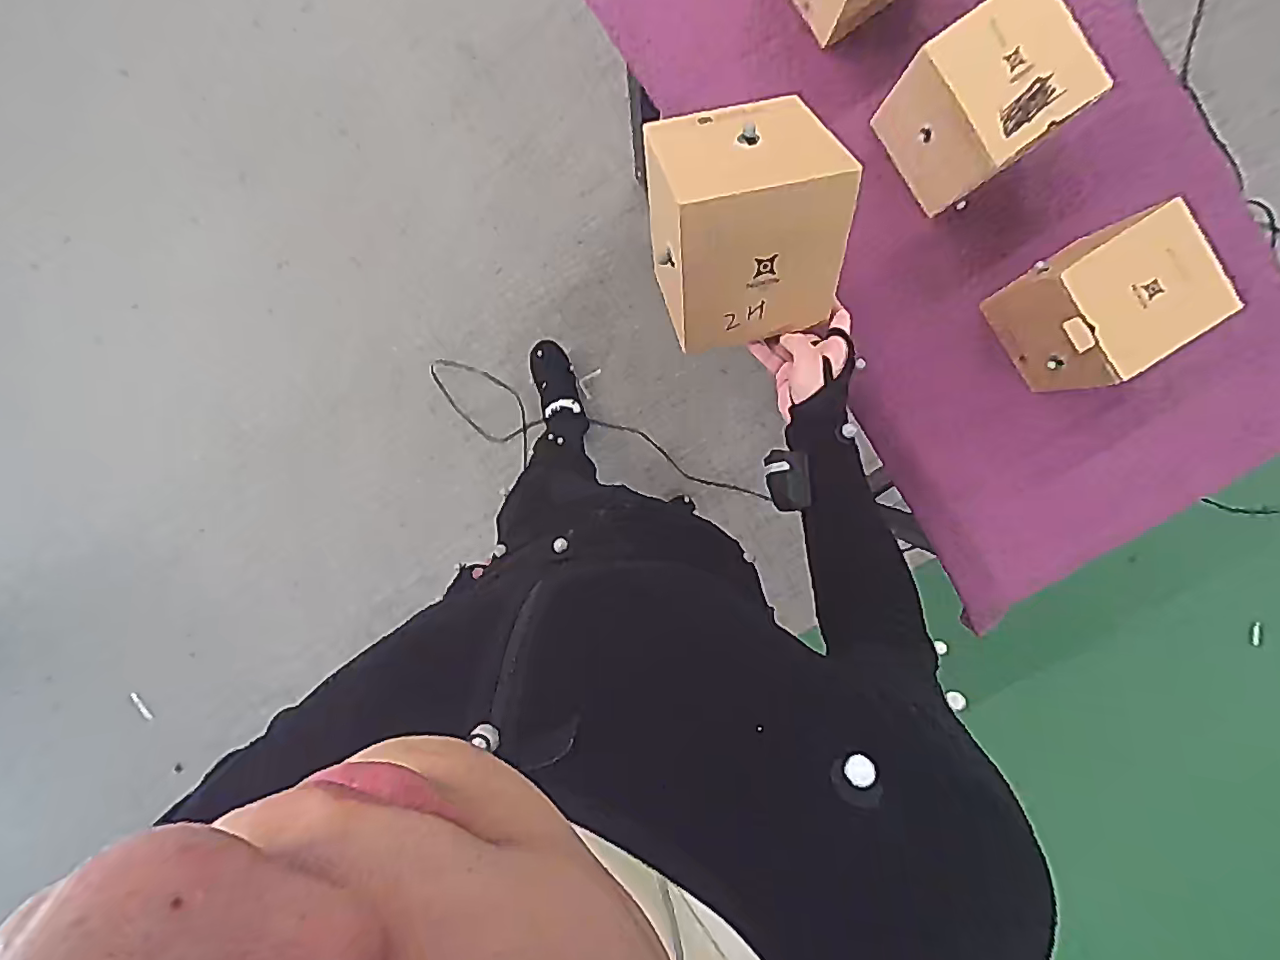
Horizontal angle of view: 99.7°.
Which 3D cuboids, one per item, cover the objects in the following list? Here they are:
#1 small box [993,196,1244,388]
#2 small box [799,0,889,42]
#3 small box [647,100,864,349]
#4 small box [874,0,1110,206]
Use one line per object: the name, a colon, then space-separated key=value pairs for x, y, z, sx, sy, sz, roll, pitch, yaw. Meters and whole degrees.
small box: x=0.638 y=-0.243 z=0.752 sx=0.179 sy=0.176 sz=0.168 roll=-34 pitch=94 yaw=4
small box: x=0.296 y=-0.749 z=0.716 sx=0.179 sy=0.176 sz=0.168 roll=-35 pitch=94 yaw=5
small box: x=0.106 y=-0.272 z=0.573 sx=0.168 sy=0.179 sz=0.176 roll=-11 pitch=55 yaw=-2
small box: x=0.458 y=-0.506 z=0.733 sx=0.168 sy=0.176 sz=0.179 roll=-34 pitch=92 yaw=4
